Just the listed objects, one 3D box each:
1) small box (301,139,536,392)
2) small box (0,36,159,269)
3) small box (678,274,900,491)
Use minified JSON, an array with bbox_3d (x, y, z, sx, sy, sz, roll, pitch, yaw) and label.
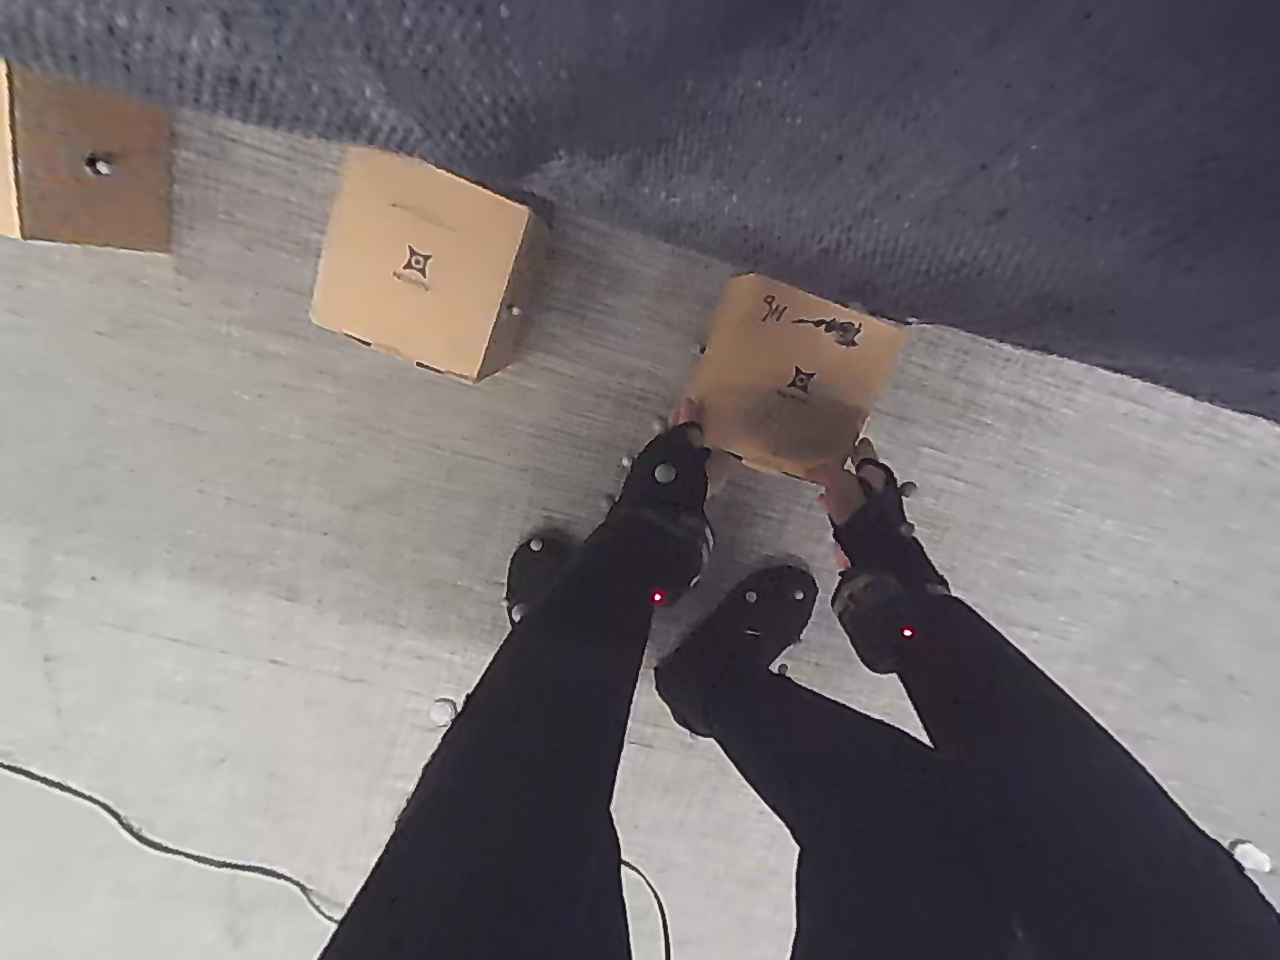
[{"bbox_3d":[-0.217,-0.211,0.571,0.168,0.176,0.179,18,104,-9],"label":"small box"},{"bbox_3d":[-0.613,-0.317,0.520,0.168,0.176,0.179,14,107,-6],"label":"small box"},{"bbox_3d":[0.148,-0.113,0.613,0.168,0.176,0.179,18,105,-7],"label":"small box"}]
